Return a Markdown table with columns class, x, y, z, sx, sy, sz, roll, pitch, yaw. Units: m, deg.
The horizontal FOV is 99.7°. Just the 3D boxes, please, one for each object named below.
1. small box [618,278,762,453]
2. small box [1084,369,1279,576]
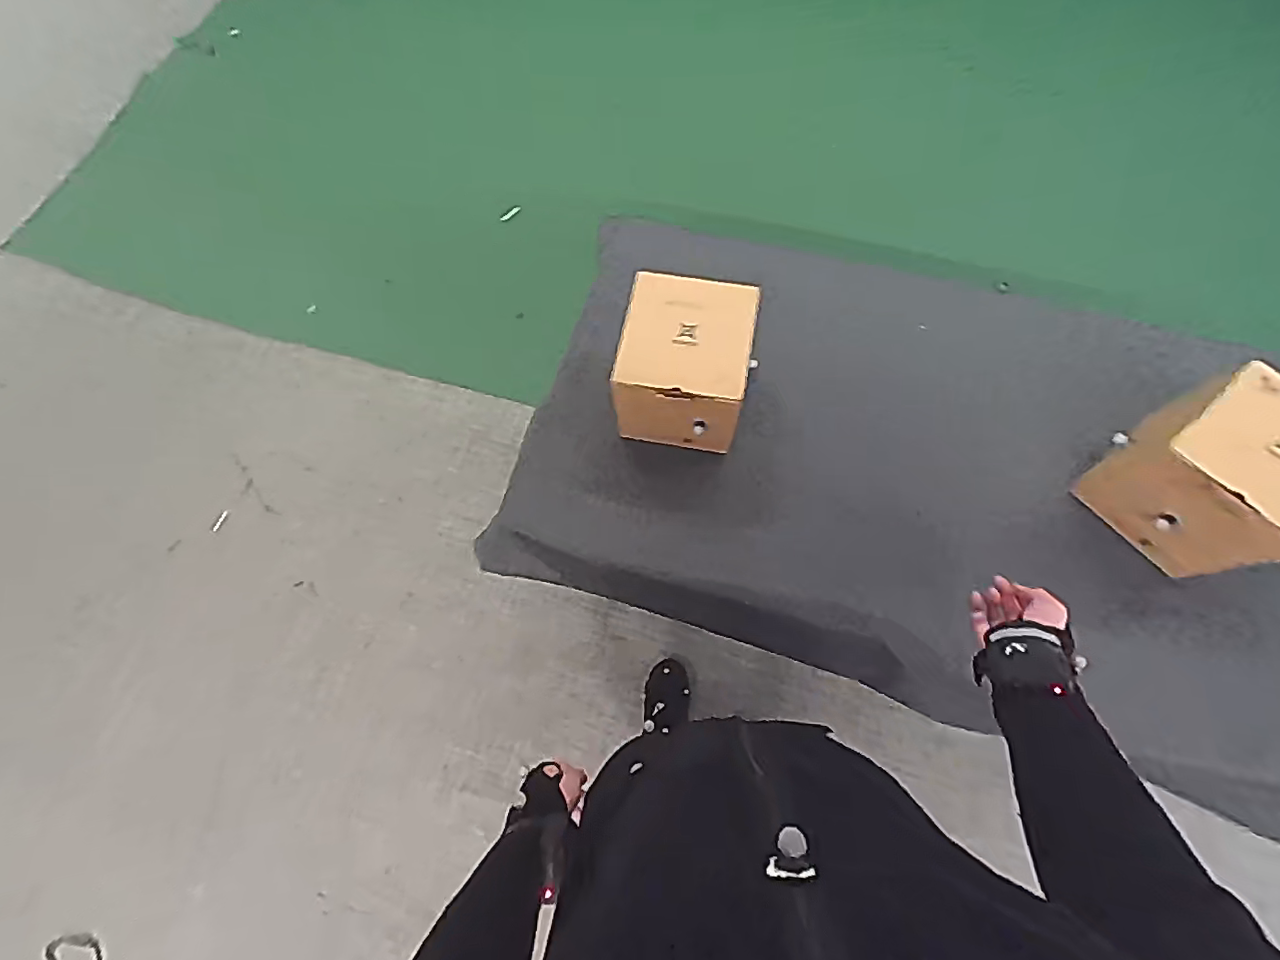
| class | x | y | z | sx | sy | sz | roll | pitch | yaw |
| --- | --- | --- | --- | --- | --- | --- | --- | --- | --- |
| small box | 0.070 | -0.154 | 0.776 | 0.168 | 0.176 | 0.179 | 10 | 70 | 5 |
| small box | 0.724 | 0.002 | 0.686 | 0.179 | 0.176 | 0.168 | -38 | 73 | -9 |
